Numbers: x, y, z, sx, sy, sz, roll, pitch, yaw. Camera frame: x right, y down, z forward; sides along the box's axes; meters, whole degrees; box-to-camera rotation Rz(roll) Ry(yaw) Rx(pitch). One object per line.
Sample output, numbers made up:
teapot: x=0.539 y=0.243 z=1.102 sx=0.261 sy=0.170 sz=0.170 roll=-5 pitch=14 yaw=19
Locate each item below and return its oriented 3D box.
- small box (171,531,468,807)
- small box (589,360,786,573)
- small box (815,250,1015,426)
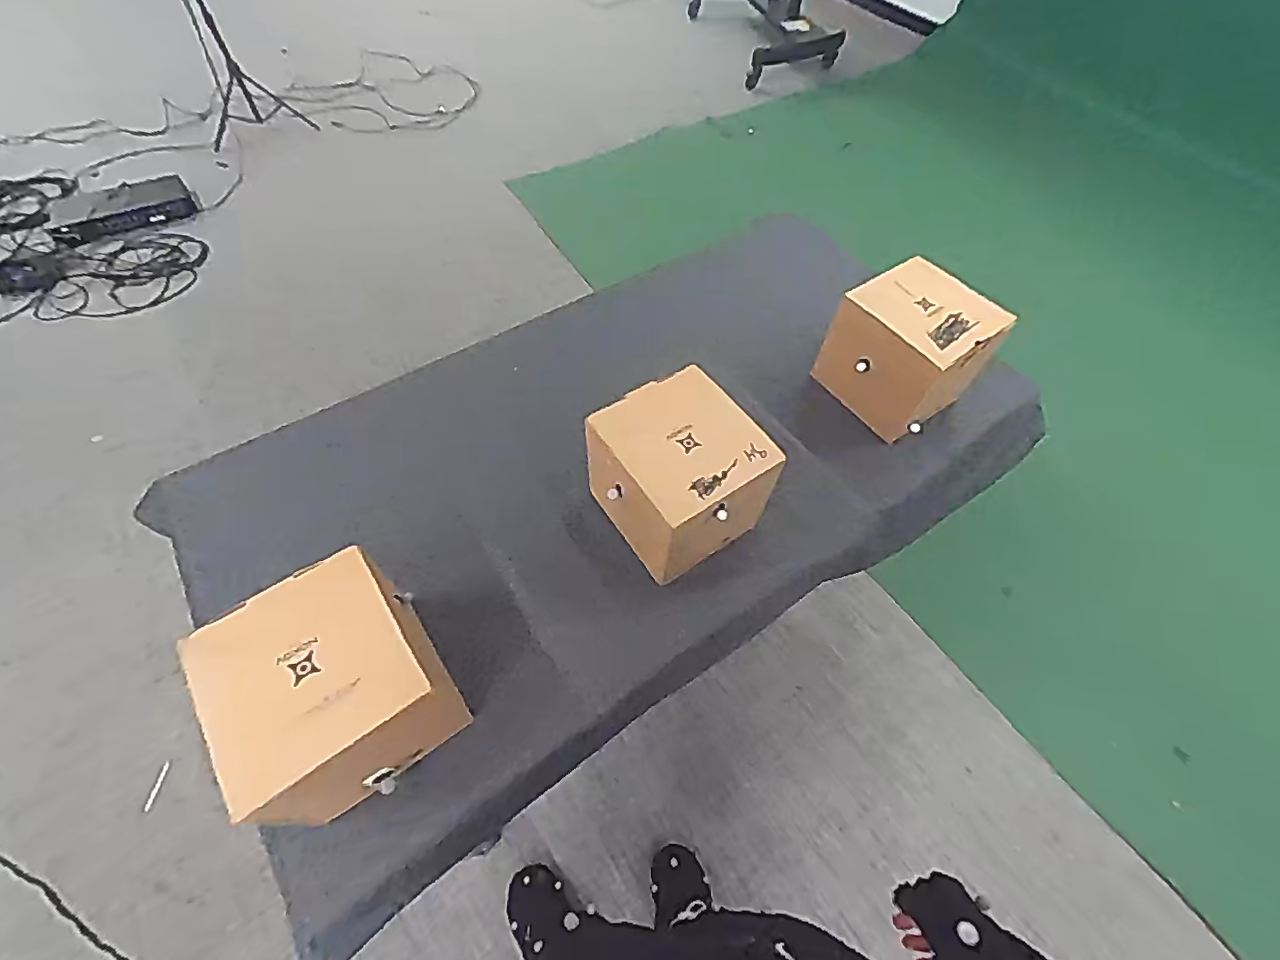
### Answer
small box: x=-0.294 y=0.188 z=0.525 sx=0.168 sy=0.176 sz=0.179 roll=-31 pitch=64 yaw=-18
small box: x=0.049 y=-0.013 z=0.688 sx=0.168 sy=0.176 sz=0.179 roll=-30 pitch=64 yaw=-19
small box: x=0.400 y=-0.205 z=0.820 sx=0.168 sy=0.176 sz=0.179 roll=-30 pitch=63 yaw=-19
